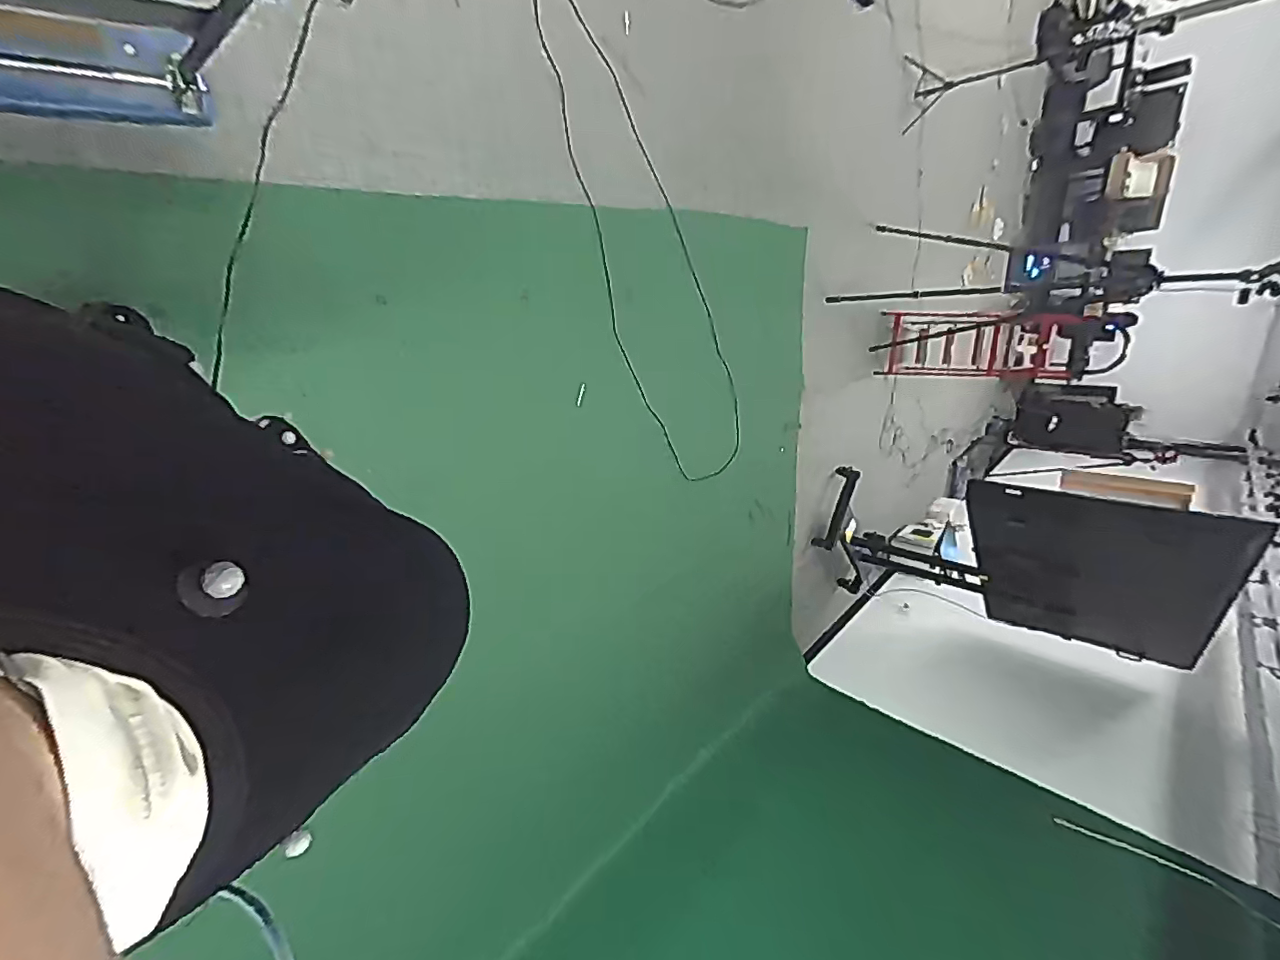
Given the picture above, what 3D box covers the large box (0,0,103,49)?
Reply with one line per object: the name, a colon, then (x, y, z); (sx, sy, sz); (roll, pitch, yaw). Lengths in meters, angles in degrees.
large box: (-0.994, -0.885, 0.712); (0.320, 0.320, 0.408); (-23, 116, -42)
